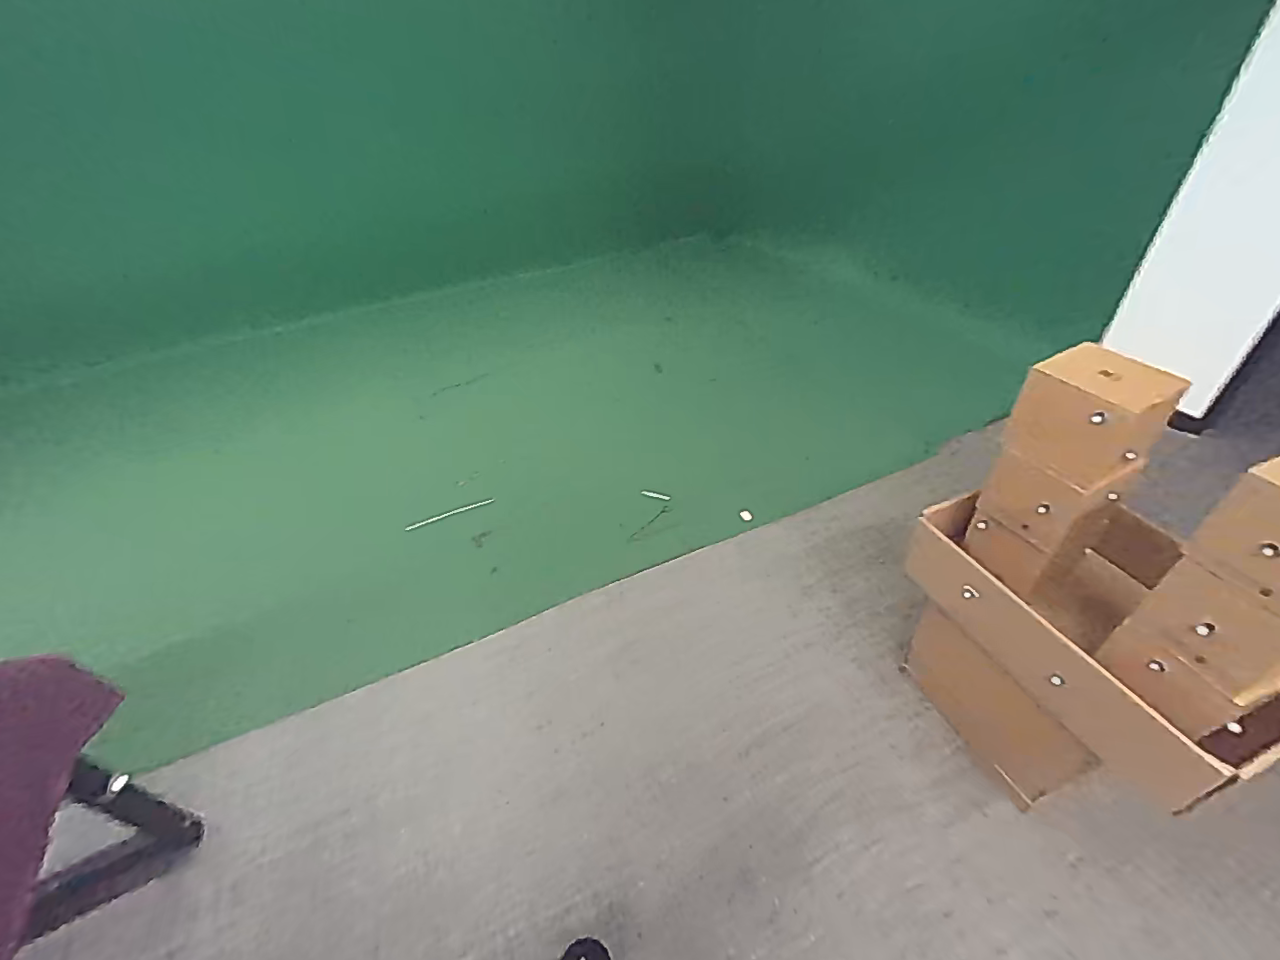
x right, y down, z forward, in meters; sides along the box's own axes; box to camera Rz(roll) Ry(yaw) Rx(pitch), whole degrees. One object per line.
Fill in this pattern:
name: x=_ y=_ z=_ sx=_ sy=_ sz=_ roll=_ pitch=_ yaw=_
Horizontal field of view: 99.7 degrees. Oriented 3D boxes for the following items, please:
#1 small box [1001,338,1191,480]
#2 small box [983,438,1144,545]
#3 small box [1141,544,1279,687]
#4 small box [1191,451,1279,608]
small box: x=0.805 y=-0.129 z=0.979 sx=0.168 sy=0.176 sz=0.179 roll=-23 pitch=45 yaw=-18
small box: x=0.824 y=0.000 z=1.077 sx=0.179 sy=0.176 sz=0.168 roll=-21 pitch=44 yaw=-17
small box: x=0.948 y=0.191 z=0.845 sx=0.179 sy=0.176 sz=0.168 roll=-18 pitch=43 yaw=-12
small box: x=0.930 y=0.064 z=0.740 sx=0.179 sy=0.176 sz=0.168 roll=-17 pitch=43 yaw=-12
